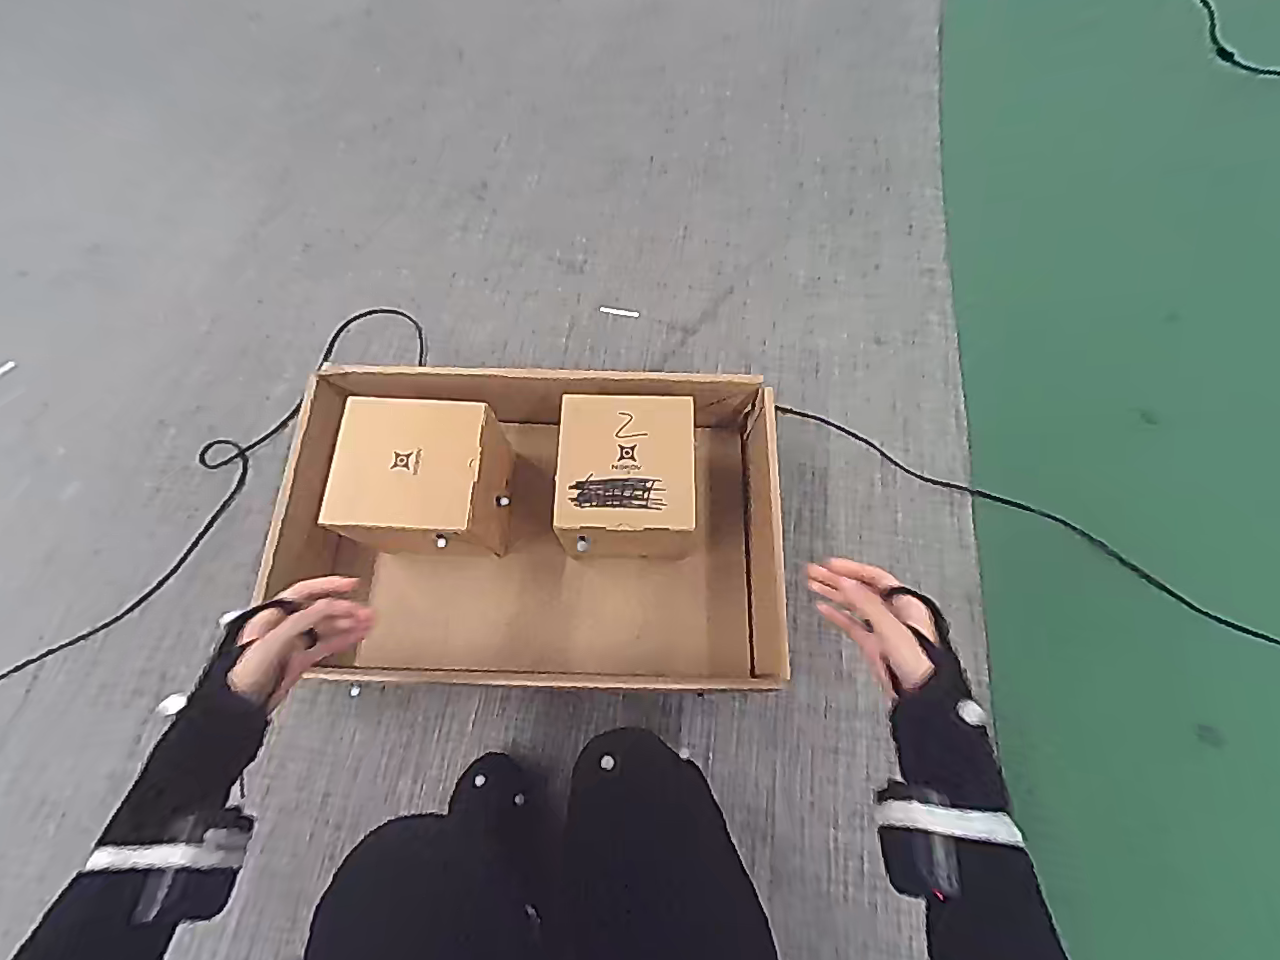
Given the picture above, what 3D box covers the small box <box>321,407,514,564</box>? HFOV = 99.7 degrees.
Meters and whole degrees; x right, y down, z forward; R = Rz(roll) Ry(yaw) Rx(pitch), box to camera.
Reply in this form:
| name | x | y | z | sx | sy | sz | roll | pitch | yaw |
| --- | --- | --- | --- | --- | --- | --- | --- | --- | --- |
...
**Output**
| name | x | y | z | sx | sy | sz | roll | pitch | yaw |
| --- | --- | --- | --- | --- | --- | --- | --- | --- | --- |
| small box | -0.281 | 0.016 | 0.726 | 0.179 | 0.176 | 0.168 | 3 | 70 | 0 |
